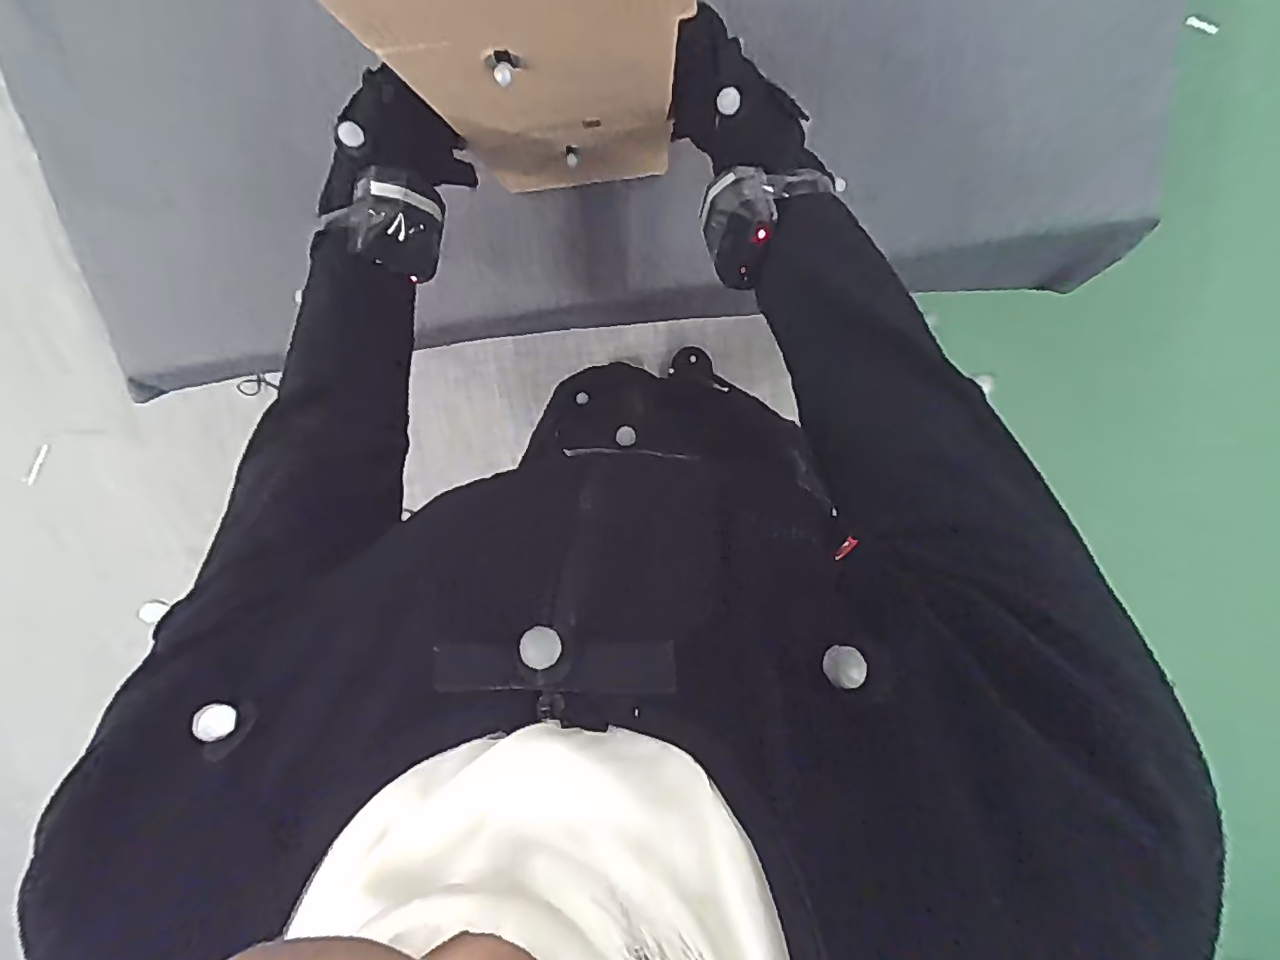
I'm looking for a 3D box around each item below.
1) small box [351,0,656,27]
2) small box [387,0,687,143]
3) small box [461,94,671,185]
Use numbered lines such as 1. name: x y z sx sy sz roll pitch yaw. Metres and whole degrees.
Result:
1. small box: -0.067 -0.297 0.187 0.179 0.176 0.168 -4 107 1
2. small box: -0.067 -0.349 0.346 0.168 0.176 0.179 -8 107 2
3. small box: -0.067 -0.391 0.502 0.179 0.176 0.168 -6 106 2
